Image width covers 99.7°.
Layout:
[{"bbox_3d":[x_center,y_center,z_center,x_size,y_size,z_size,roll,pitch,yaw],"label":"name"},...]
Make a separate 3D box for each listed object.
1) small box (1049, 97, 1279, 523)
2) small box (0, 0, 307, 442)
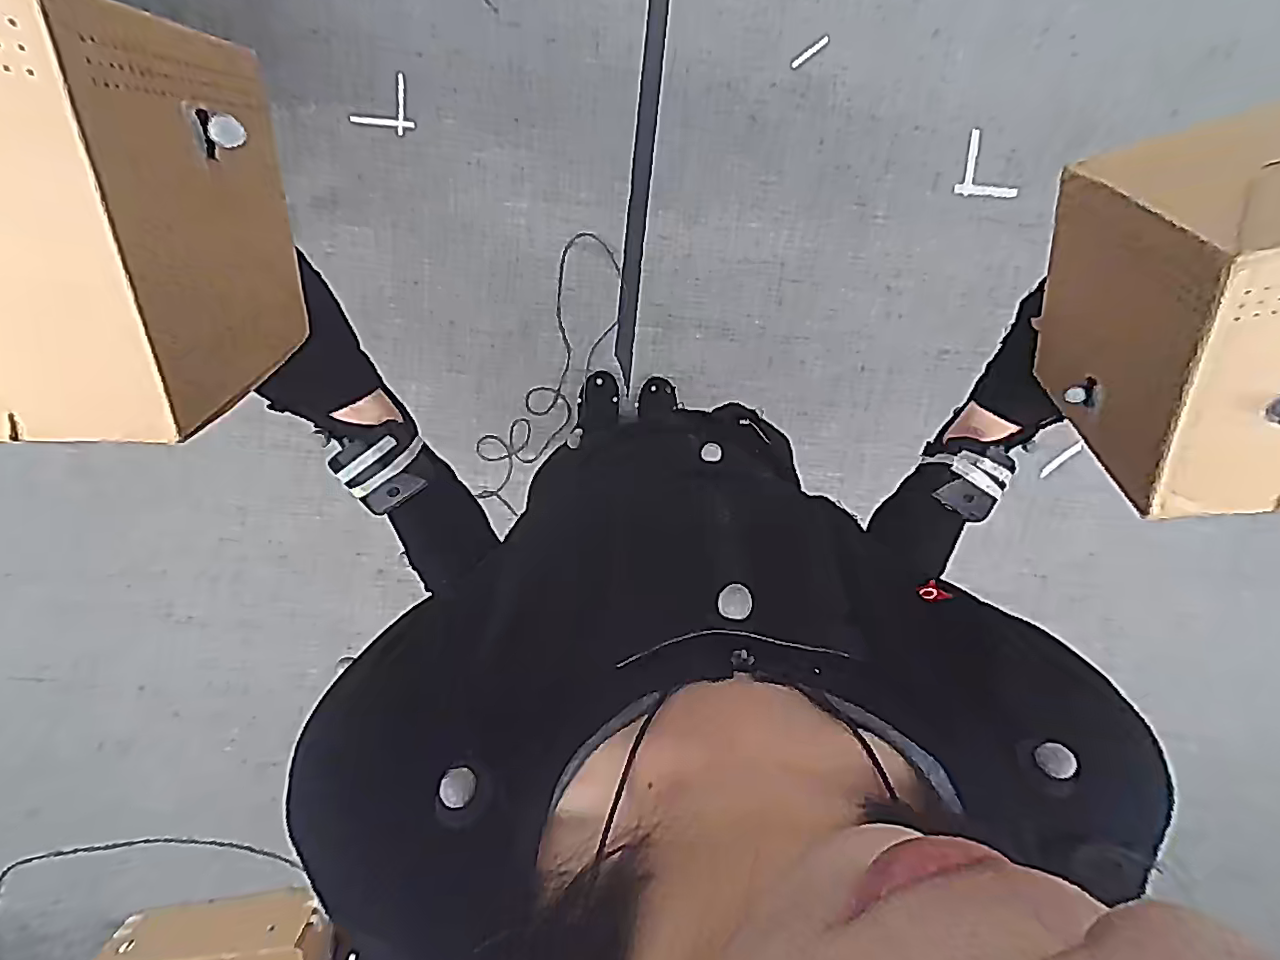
[{"bbox_3d":[0.365,-0.103,0.300,0.168,0.179,0.176,-8,129,19],"label":"small box"},{"bbox_3d":[-0.287,-0.132,0.250,0.168,0.179,0.176,2,121,-12],"label":"small box"}]
